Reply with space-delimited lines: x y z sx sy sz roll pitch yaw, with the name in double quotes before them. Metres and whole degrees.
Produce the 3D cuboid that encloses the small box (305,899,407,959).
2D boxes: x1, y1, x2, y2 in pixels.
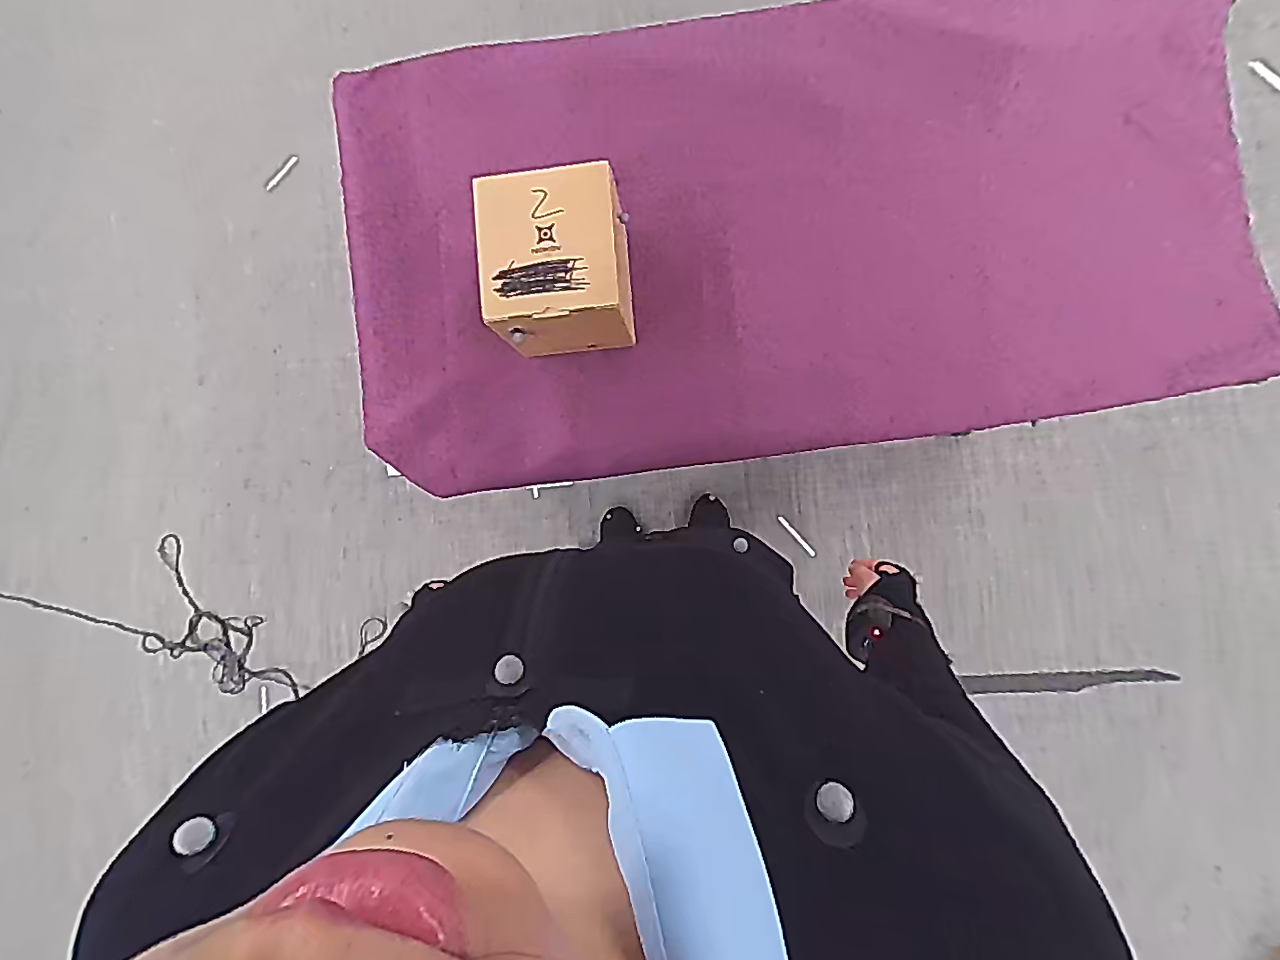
"small box" -0.759 1.288 1.461 0.179 0.176 0.168 -21 87 5
